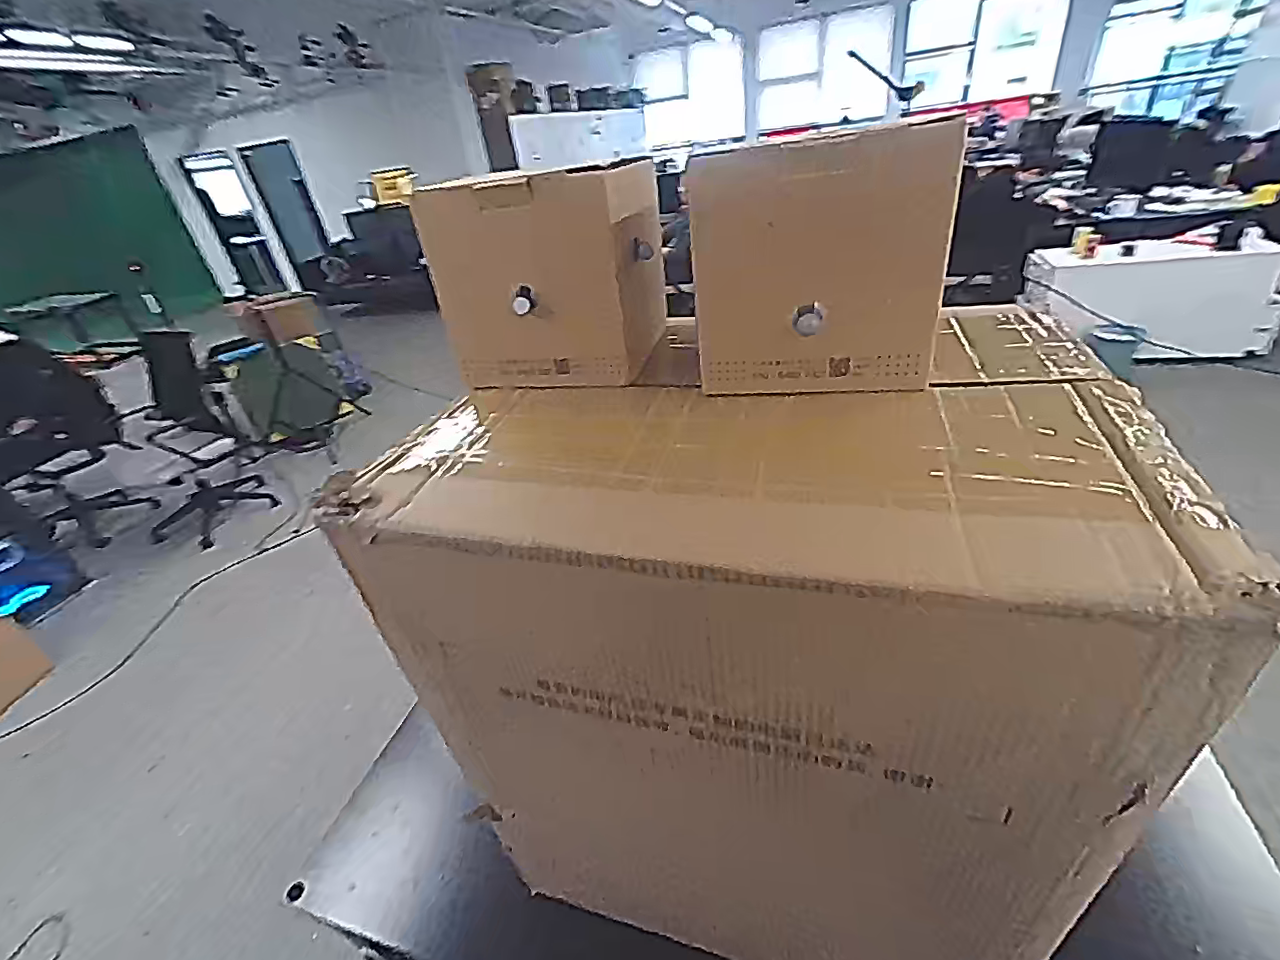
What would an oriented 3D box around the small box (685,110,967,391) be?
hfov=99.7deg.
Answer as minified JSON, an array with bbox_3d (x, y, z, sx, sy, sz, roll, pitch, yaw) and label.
[{"bbox_3d":[0.136,-0.181,0.433,0.168,0.176,0.179,1,32,16],"label":"small box"}]

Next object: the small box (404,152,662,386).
[{"bbox_3d":[-0.078,-0.195,0.509,0.168,0.176,0.179,1,33,14],"label":"small box"}]
